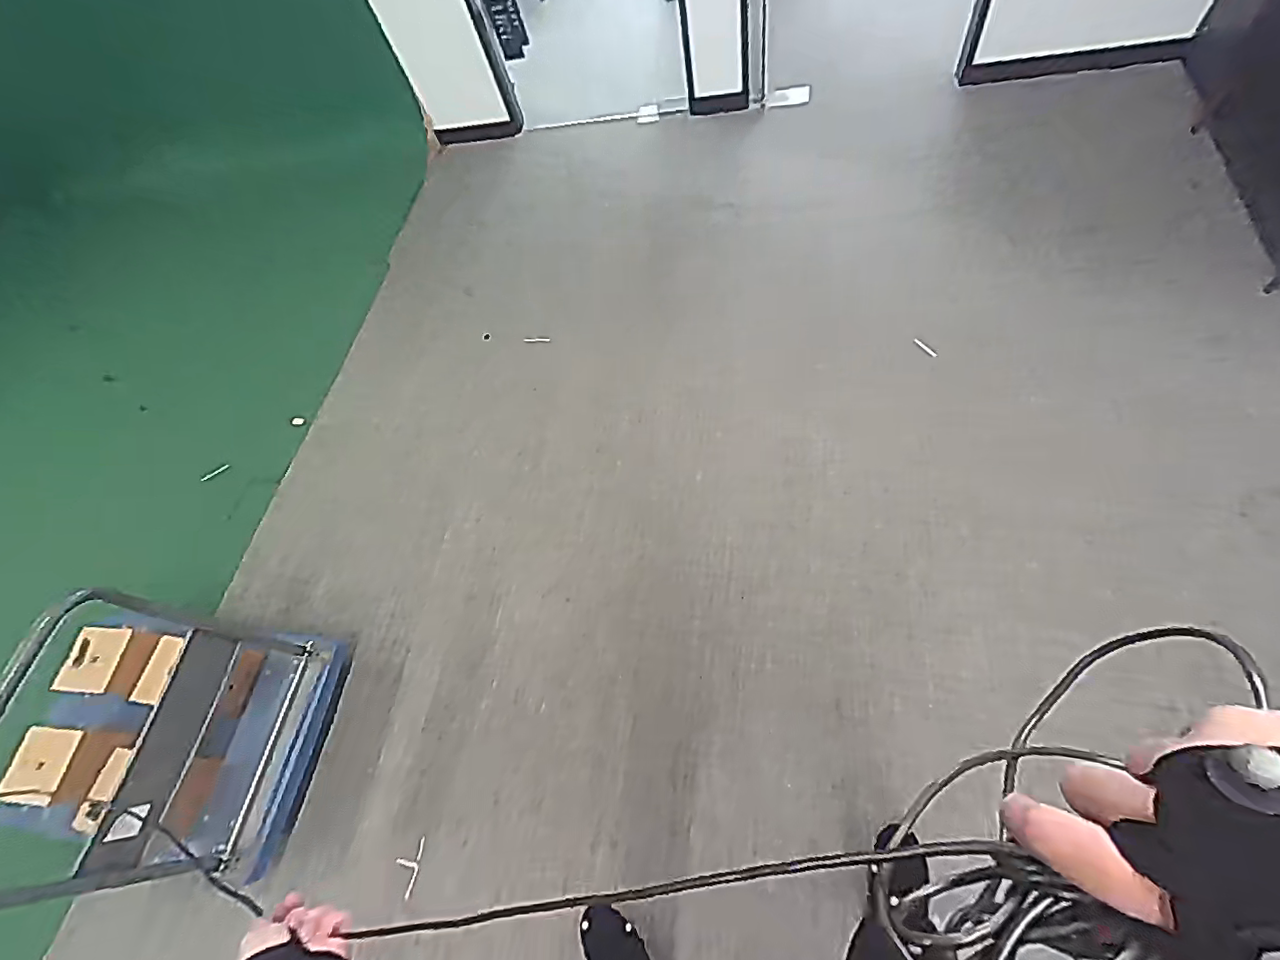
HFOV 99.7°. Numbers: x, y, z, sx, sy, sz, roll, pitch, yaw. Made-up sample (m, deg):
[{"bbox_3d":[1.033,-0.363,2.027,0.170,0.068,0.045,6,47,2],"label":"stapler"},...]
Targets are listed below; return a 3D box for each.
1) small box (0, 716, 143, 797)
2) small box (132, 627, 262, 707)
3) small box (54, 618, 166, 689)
[{"bbox_3d":[-1.467,0.716,1.405,0.179,0.176,0.168,0,62,11],"label":"small box"},{"bbox_3d":[-1.184,0.508,1.459,0.179,0.176,0.168,5,63,13],"label":"small box"},{"bbox_3d":[-1.447,0.492,1.519,0.179,0.176,0.168,1,63,10],"label":"small box"}]
